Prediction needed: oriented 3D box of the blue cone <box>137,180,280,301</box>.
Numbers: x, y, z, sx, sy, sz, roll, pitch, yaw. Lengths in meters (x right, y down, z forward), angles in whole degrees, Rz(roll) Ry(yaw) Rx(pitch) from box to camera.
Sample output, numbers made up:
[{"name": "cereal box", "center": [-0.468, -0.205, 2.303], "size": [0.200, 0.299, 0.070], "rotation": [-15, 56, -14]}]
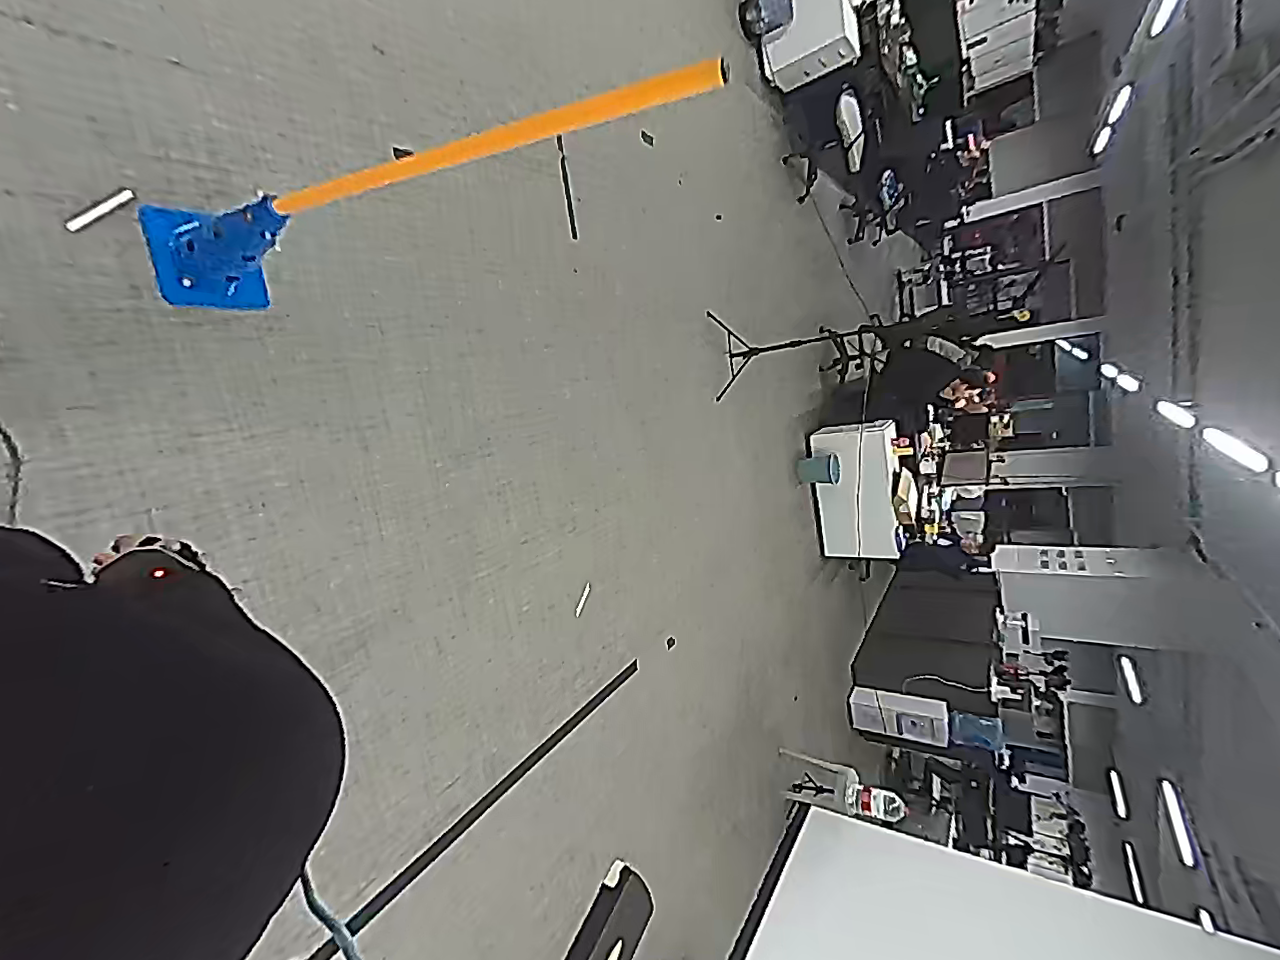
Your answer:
[{"name": "blue cone", "center": [-0.805, -0.494, 1.067], "size": [0.193, 0.380, 0.192], "rotation": [-18, 101, -54]}]
